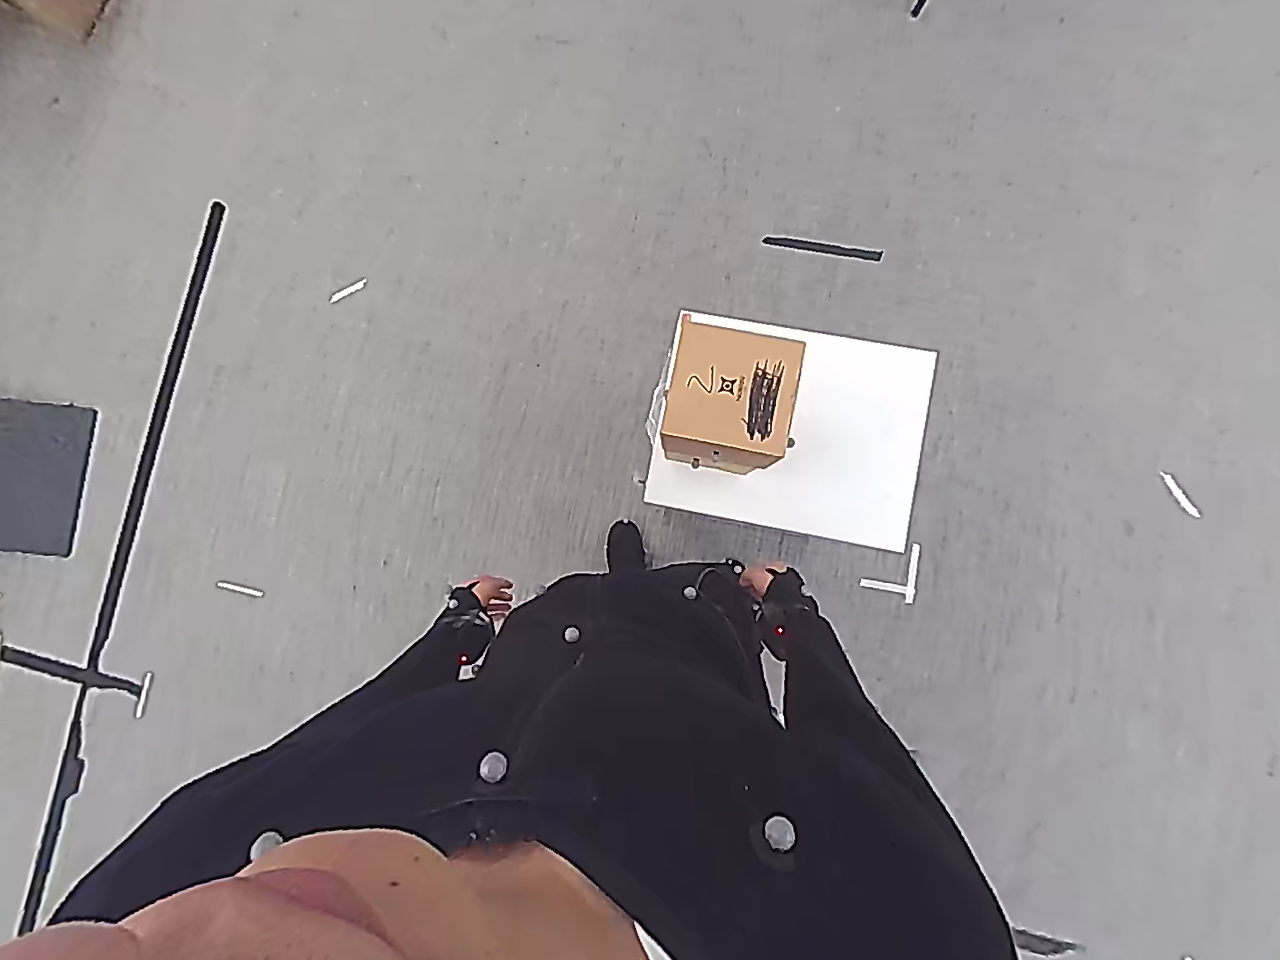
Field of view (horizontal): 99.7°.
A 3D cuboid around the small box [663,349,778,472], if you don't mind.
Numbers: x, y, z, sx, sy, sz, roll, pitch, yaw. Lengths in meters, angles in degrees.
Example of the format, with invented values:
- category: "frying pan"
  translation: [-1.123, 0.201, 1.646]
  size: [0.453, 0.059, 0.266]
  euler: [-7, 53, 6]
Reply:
- category: "small box"
  translation: [0.142, -0.116, 0.988]
  size: [0.168, 0.176, 0.179]
  euler: [12, 86, 4]
